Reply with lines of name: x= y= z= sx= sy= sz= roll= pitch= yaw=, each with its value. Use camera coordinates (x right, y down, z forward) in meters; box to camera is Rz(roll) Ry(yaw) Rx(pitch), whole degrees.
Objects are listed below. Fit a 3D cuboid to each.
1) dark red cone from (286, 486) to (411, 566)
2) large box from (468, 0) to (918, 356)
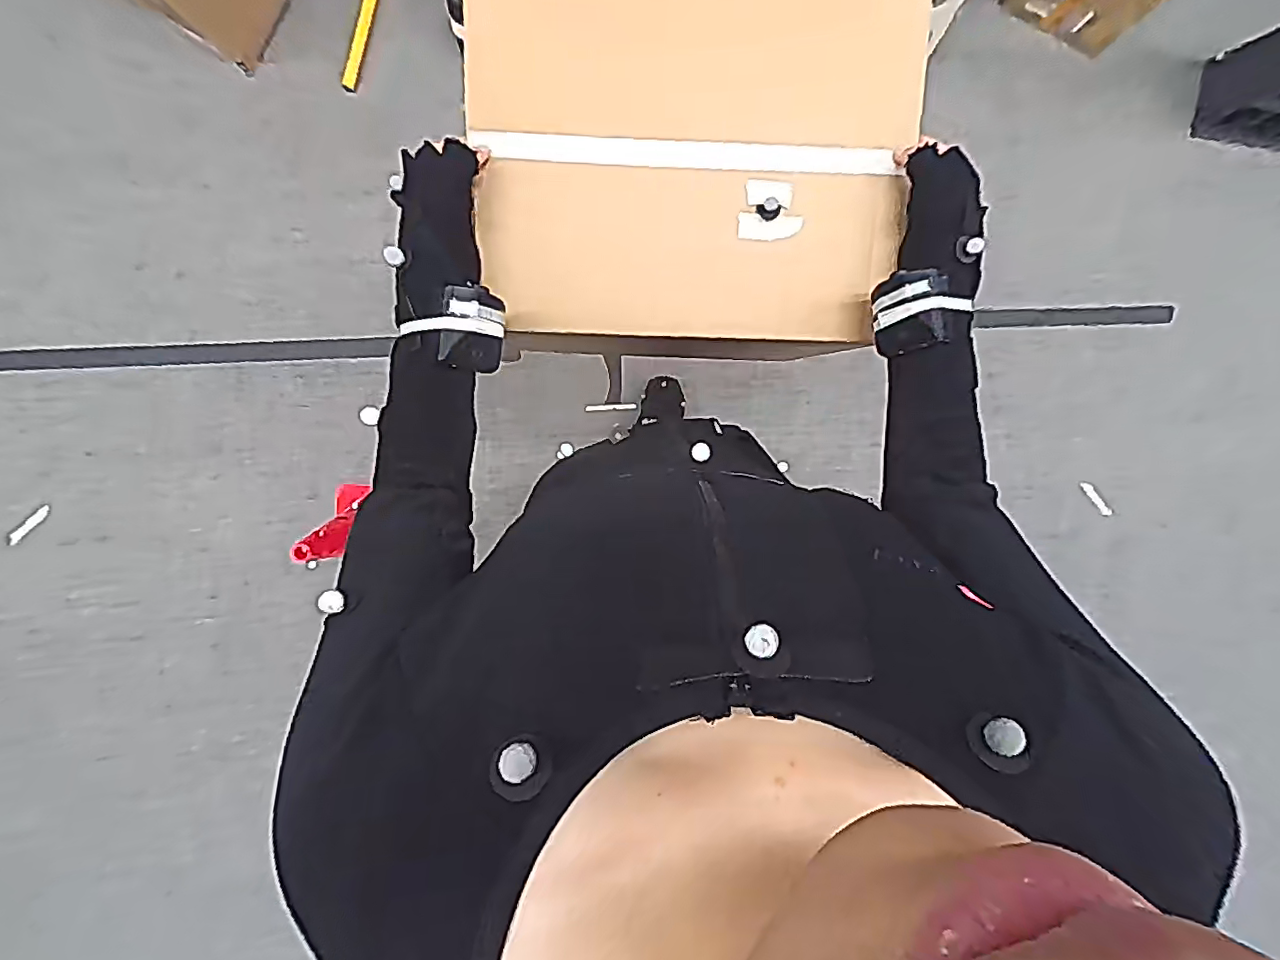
dark red cone: x=-0.685 y=0.133 z=1.239 sx=0.201 sy=0.394 sz=0.202 roll=3 pitch=94 yaw=-5
large box: x=0.039 y=-0.316 z=0.637 sx=0.408 sy=0.320 sz=0.320 roll=1 pitch=99 yaw=-4
